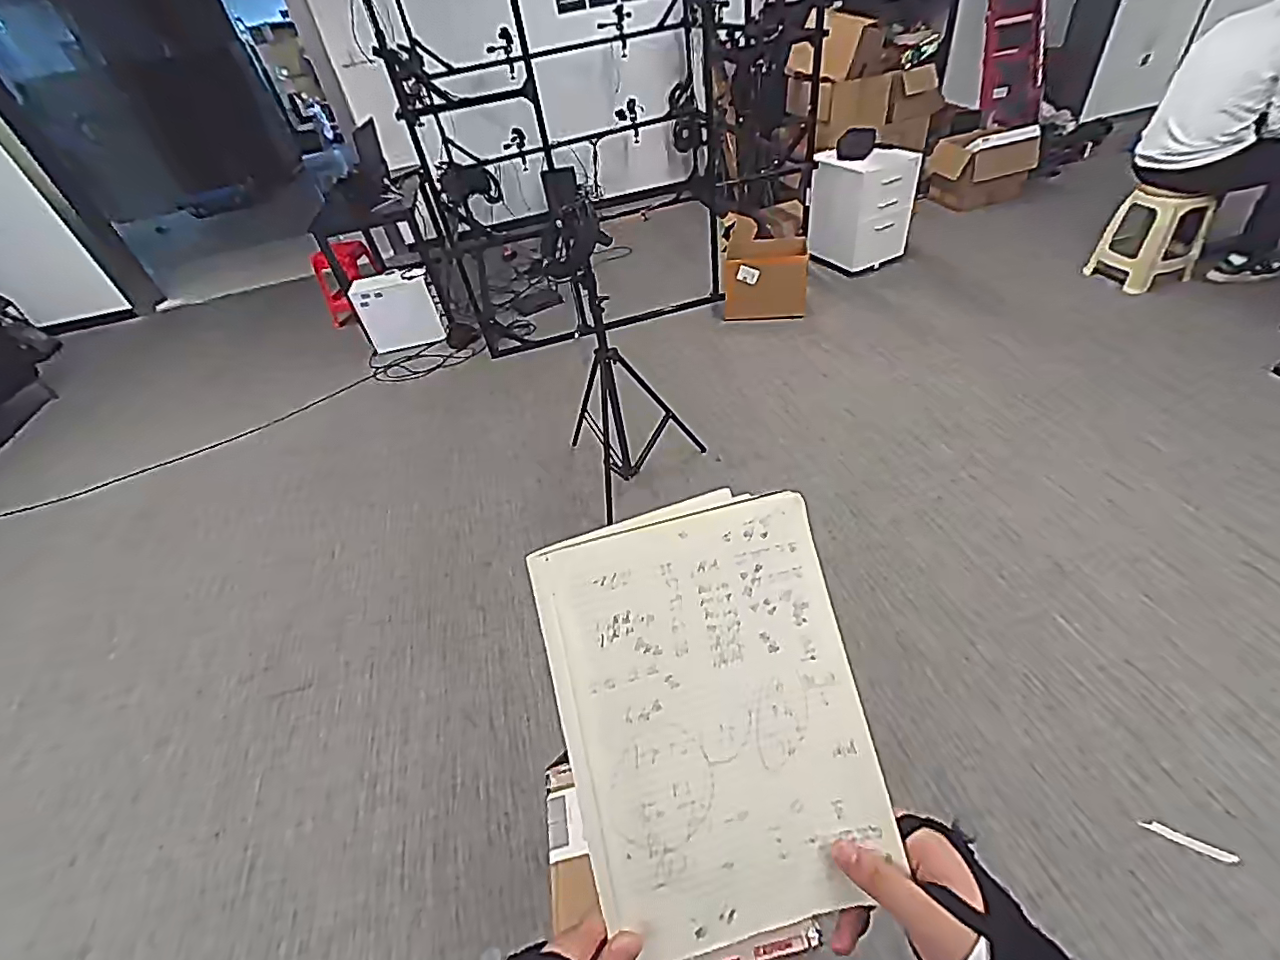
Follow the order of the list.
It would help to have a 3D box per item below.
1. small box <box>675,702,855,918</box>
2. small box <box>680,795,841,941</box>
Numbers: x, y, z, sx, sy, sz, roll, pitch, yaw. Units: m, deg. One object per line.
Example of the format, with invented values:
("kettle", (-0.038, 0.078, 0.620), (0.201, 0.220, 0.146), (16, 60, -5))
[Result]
("small box", (0.149, 0.428, 0.705), (0.168, 0.176, 0.179), (-14, 43, -7))
("small box", (0.169, 0.552, 0.810), (0.179, 0.176, 0.168), (-16, 43, -8))
